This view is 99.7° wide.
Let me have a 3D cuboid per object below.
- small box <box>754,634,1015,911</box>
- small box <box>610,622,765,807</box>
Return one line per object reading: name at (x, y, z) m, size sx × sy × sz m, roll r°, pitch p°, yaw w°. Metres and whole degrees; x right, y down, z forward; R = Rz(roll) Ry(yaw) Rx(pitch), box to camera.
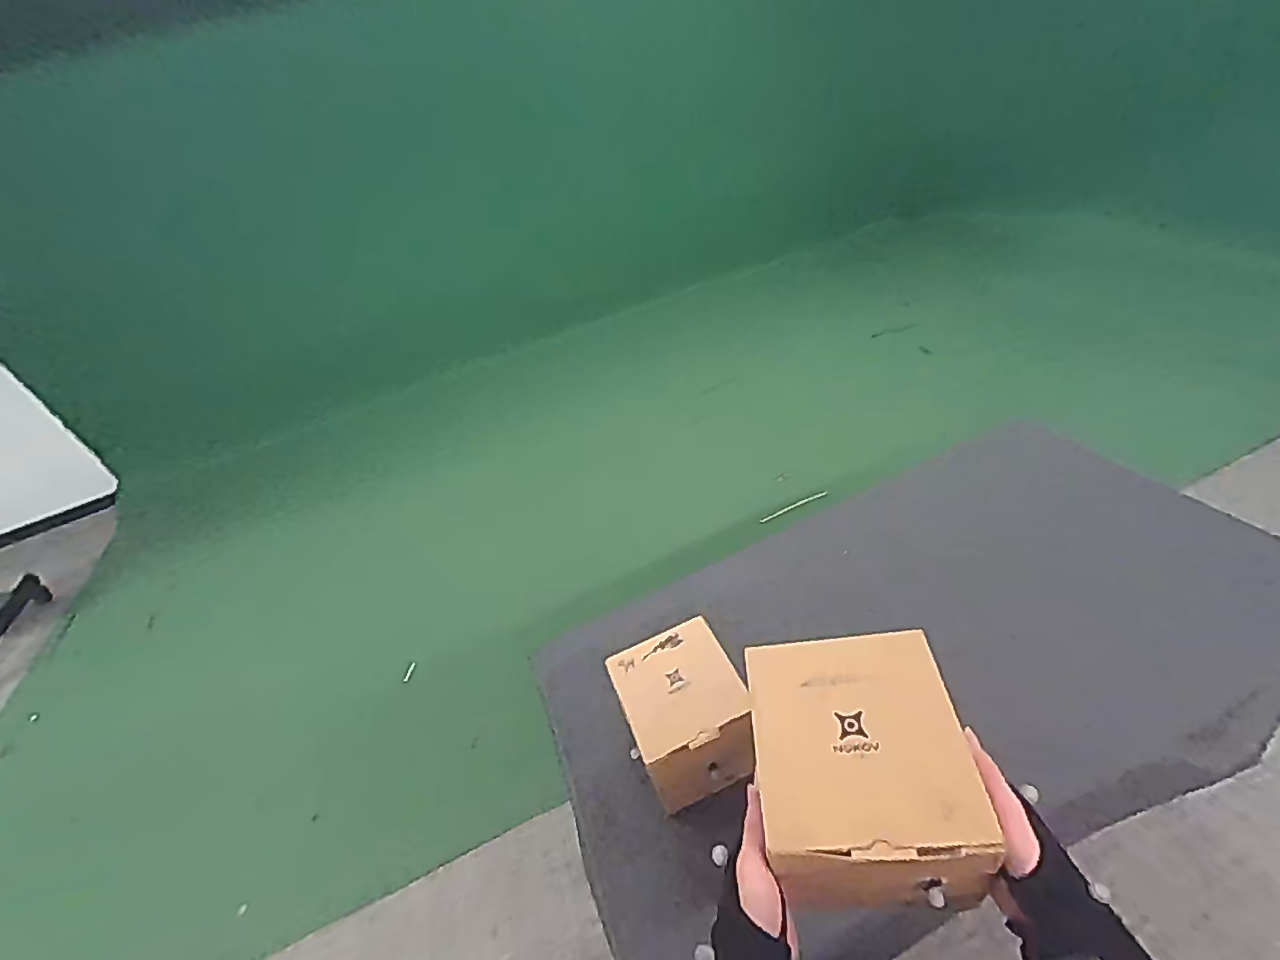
small box at (0.204, 0.269, 0.495) m, size 0.168 × 0.176 × 0.179 m, roll -9°, pitch 38°, yaw 11°
small box at (0.074, 0.355, 0.809) m, size 0.168 × 0.176 × 0.179 m, roll -22°, pitch 38°, yaw -10°
